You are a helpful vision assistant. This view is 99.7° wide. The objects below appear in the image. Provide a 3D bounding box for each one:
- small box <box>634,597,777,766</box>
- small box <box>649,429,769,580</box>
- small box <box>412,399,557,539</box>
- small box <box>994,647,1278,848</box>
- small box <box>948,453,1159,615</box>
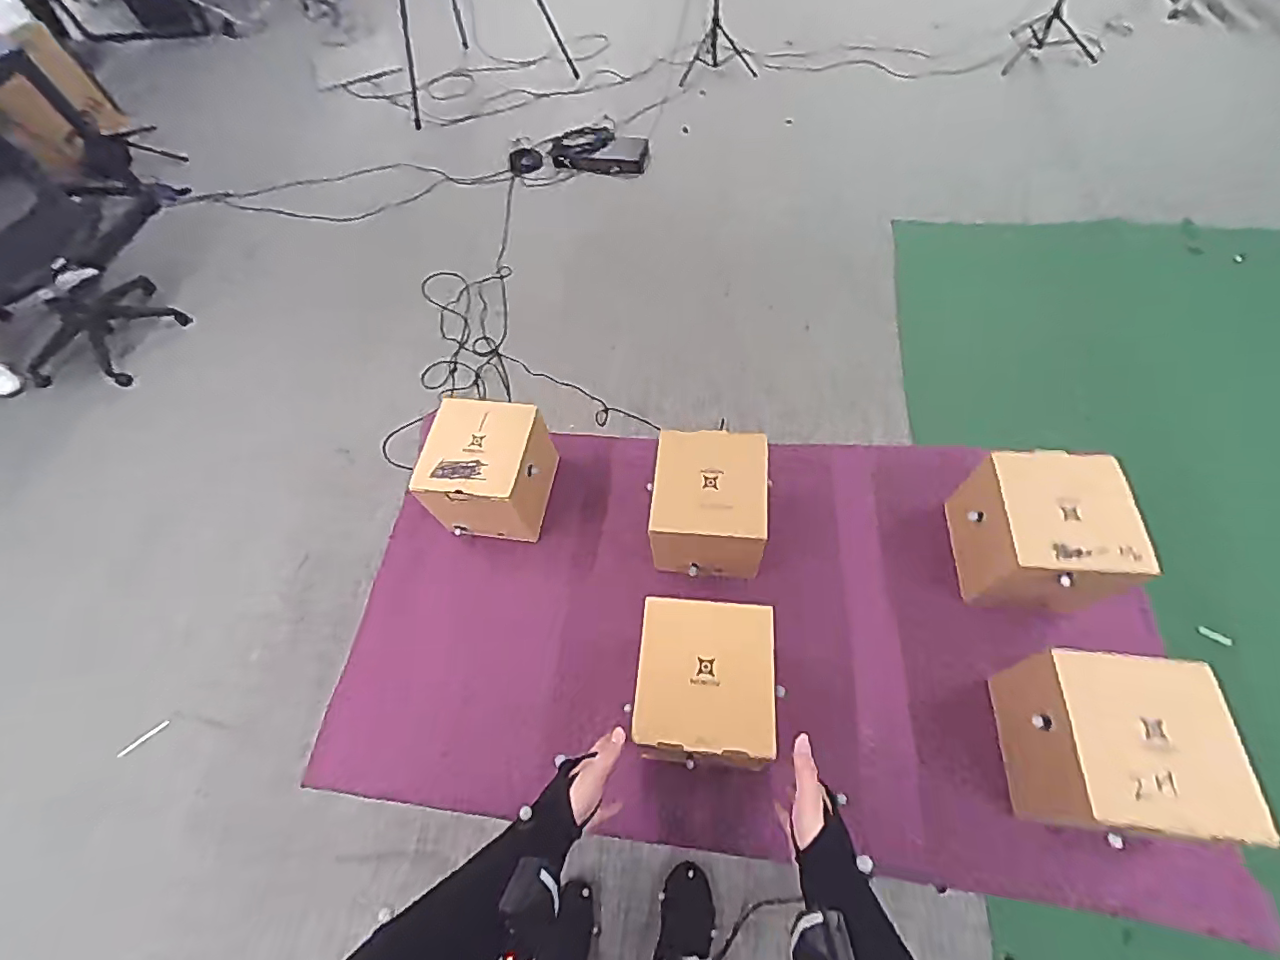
[{"bbox_3d":[0.087,0.272,0.722,0.168,0.176,0.179,3,60,7],"label":"small box"},{"bbox_3d":[0.110,0.042,0.857,0.168,0.176,0.179,4,61,8],"label":"small box"},{"bbox_3d":[-0.249,-0.014,0.918,0.168,0.176,0.179,6,61,8],"label":"small box"},{"bbox_3d":[0.556,0.317,0.644,0.168,0.176,0.179,4,59,10],"label":"small box"},{"bbox_3d":[0.576,0.080,0.786,0.168,0.176,0.179,2,59,8],"label":"small box"}]
